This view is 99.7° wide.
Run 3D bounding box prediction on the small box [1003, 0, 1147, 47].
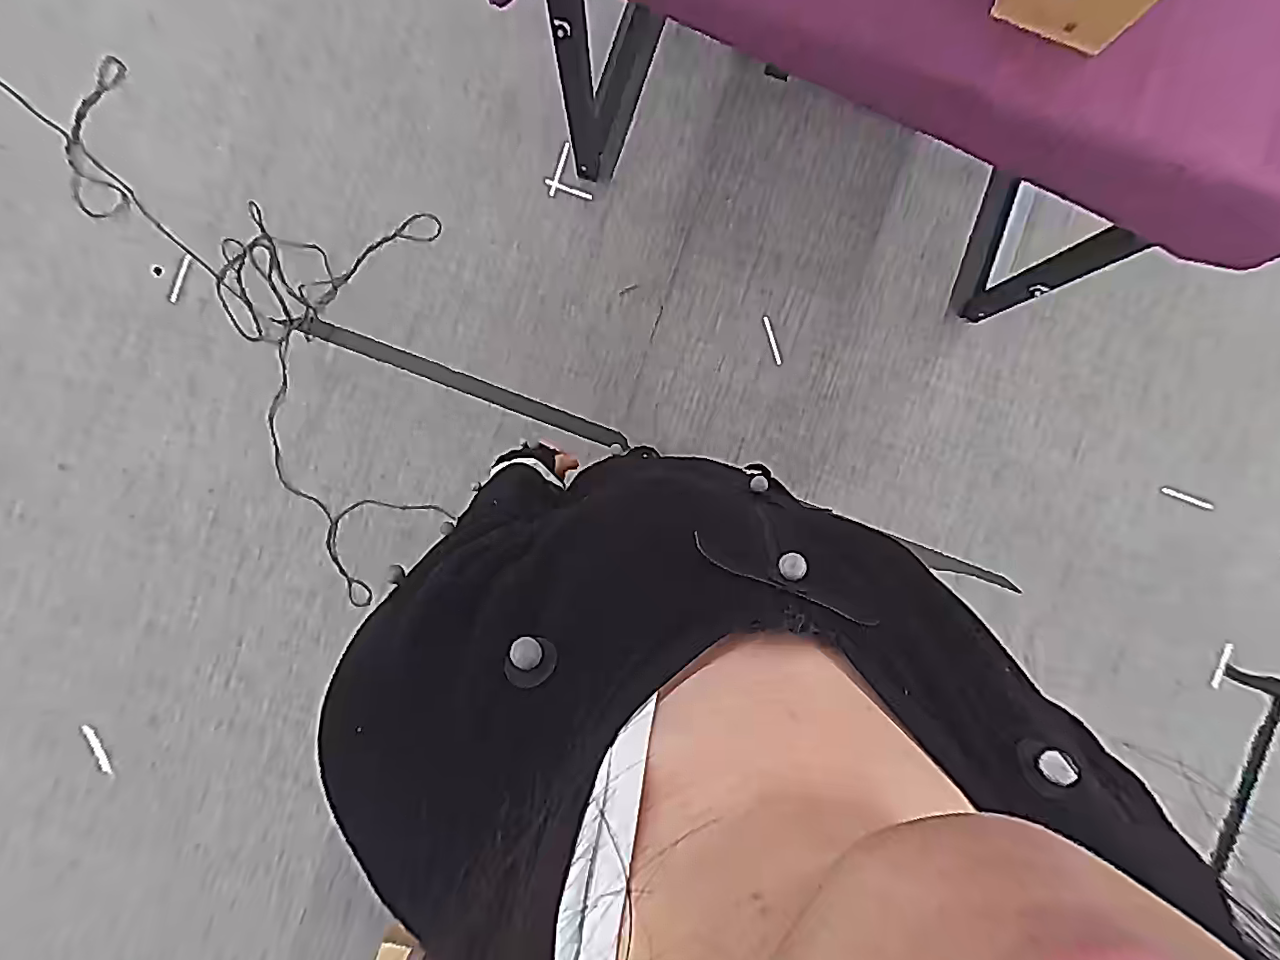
[{"bbox_3d":[0.610,-0.721,0.697,0.168,0.176,0.179,20,90,-1],"label":"small box"}]
